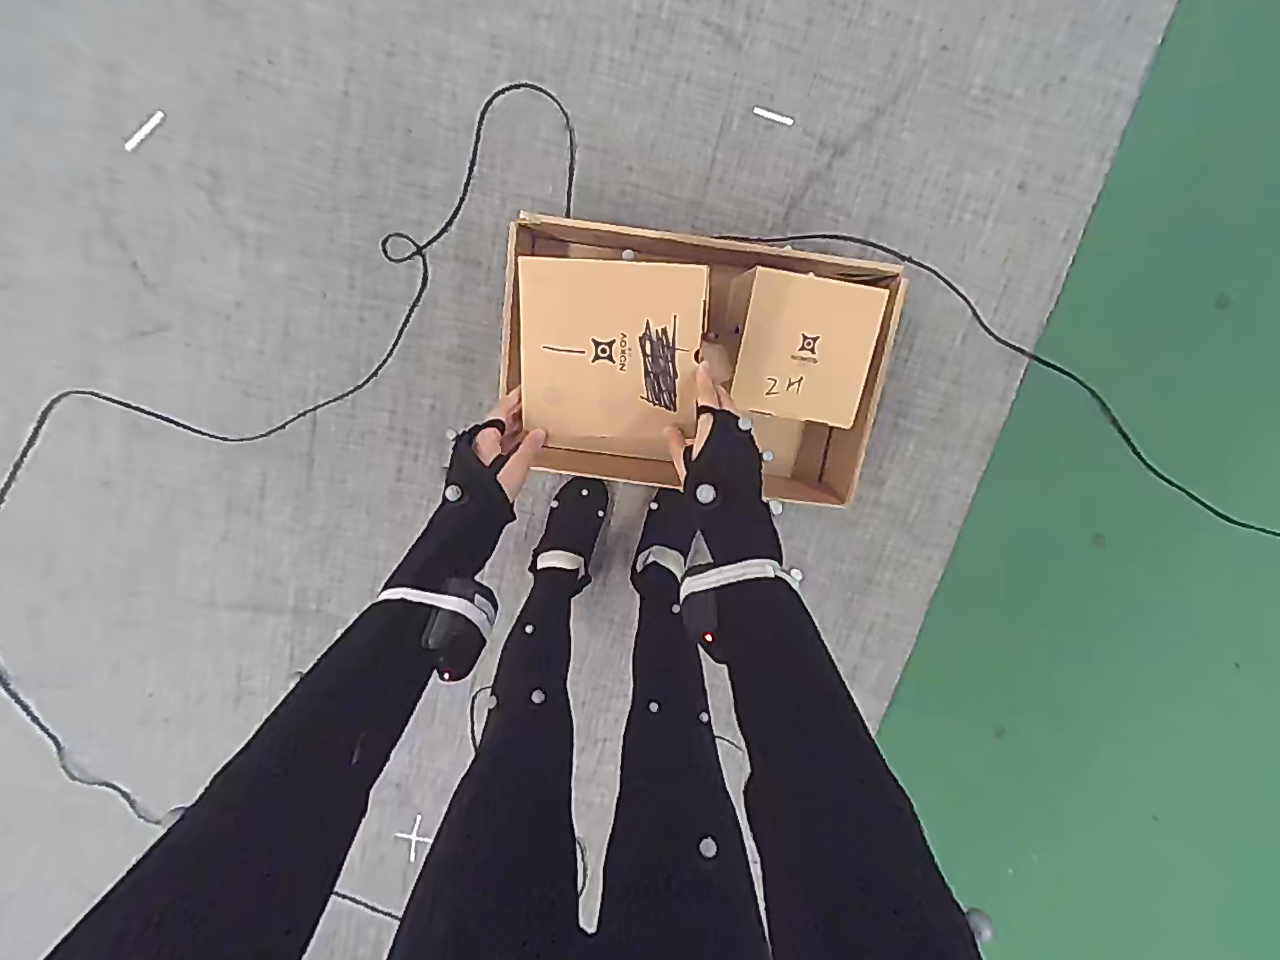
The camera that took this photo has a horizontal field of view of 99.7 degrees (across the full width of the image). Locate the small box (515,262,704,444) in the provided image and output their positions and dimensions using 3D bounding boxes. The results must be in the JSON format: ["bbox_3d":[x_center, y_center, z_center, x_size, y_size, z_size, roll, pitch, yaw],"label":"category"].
[{"bbox_3d":[-0.034,-0.141,0.593,0.179,0.176,0.168,2,107,-2],"label":"small box"}]

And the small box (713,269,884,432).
[{"bbox_3d":[0.203,-0.179,0.749,0.168,0.176,0.179,10,106,-1],"label":"small box"}]
